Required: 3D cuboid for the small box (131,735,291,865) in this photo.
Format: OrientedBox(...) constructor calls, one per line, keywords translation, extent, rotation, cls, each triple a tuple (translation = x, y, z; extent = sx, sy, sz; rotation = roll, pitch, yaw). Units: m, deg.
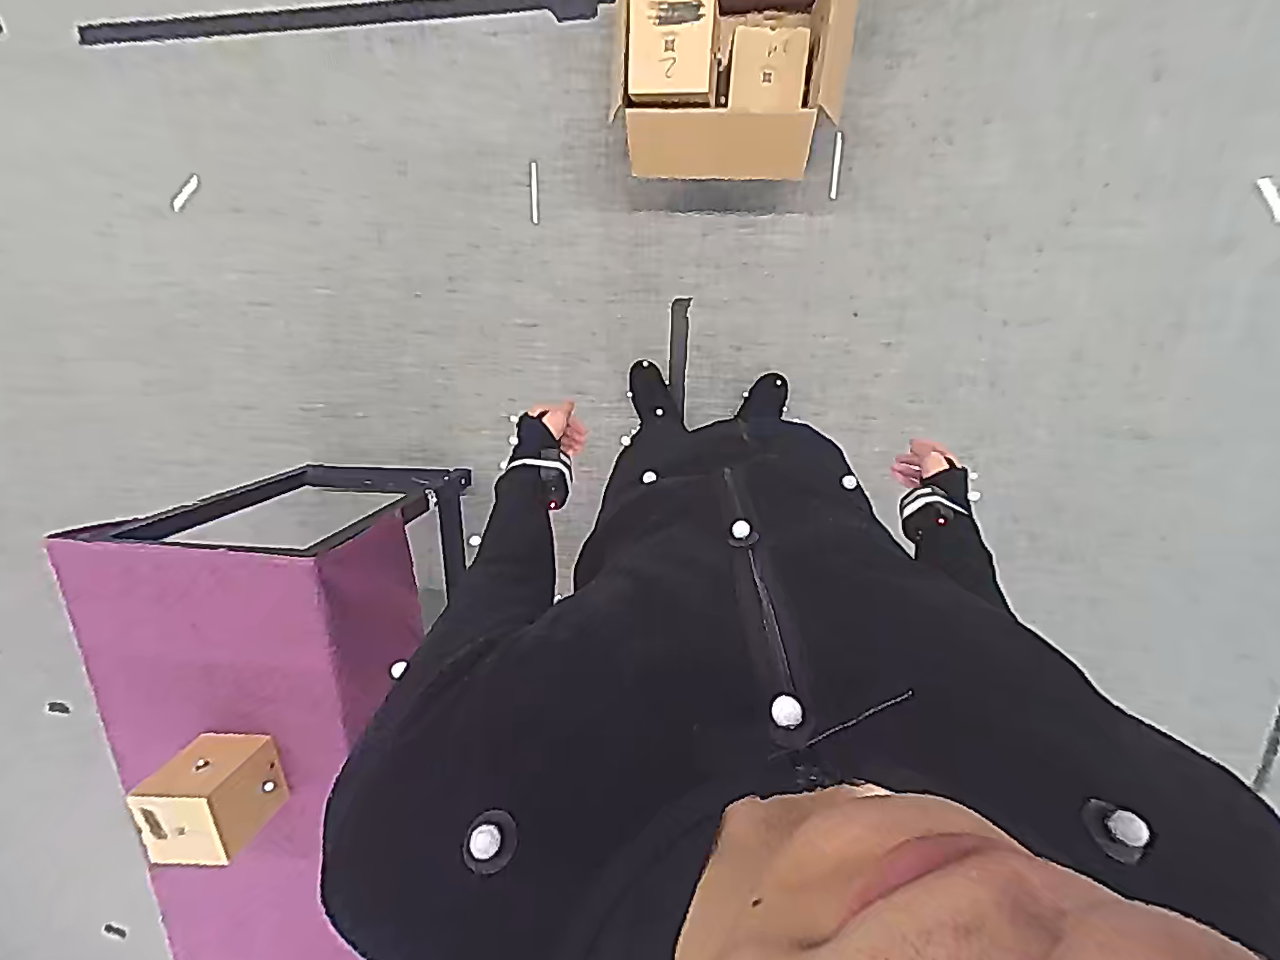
OrientedBox(translation=(-0.877, 0.653, 1.122), extent=(0.179, 0.176, 0.168), rotation=(-3, 105, 8), cls="small box")
